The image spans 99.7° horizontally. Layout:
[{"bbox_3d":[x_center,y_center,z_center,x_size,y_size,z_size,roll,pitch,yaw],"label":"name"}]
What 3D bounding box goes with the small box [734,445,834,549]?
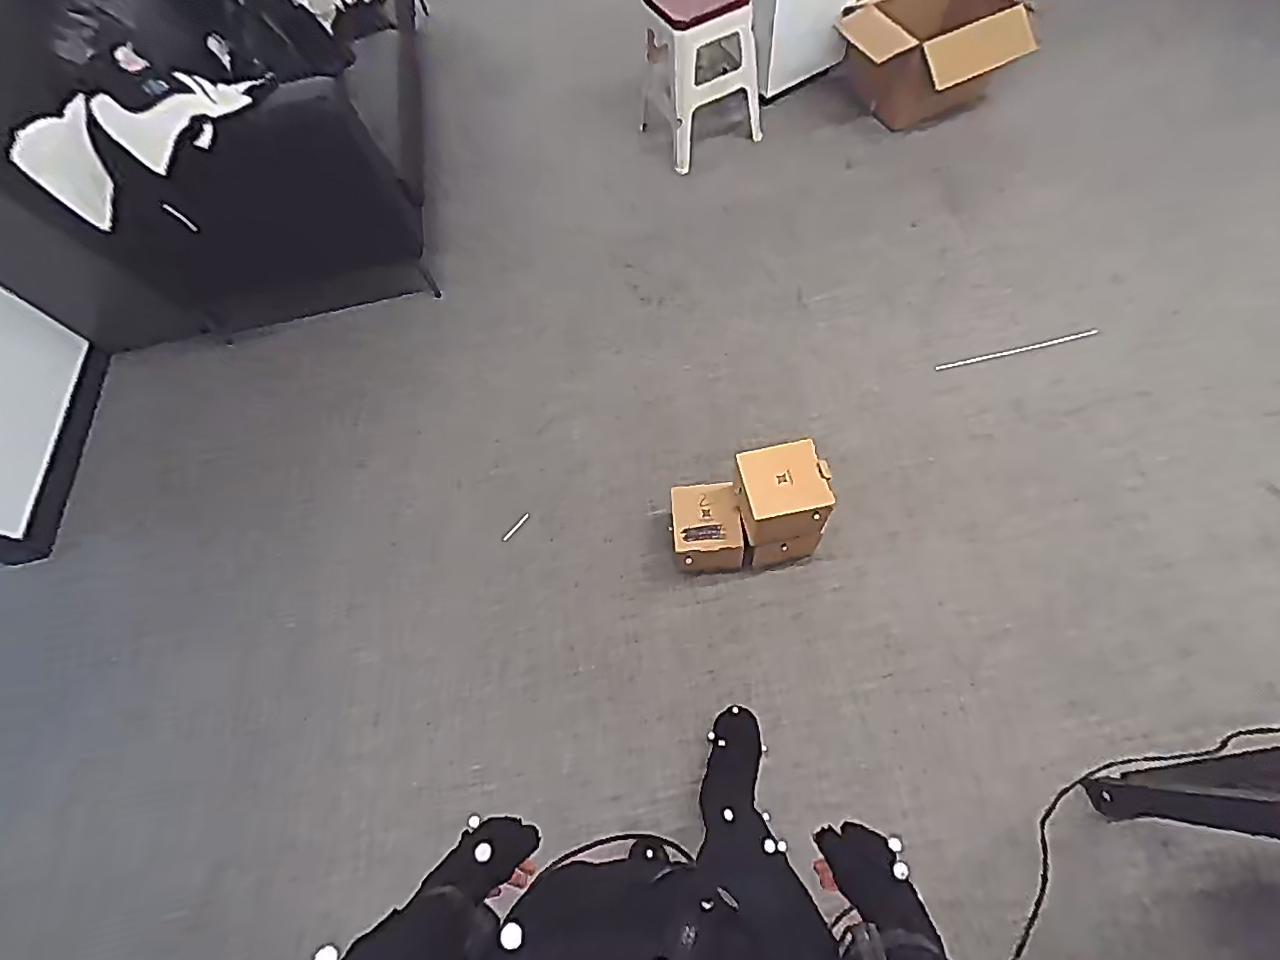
[{"bbox_3d":[0.320,0.045,1.242,0.179,0.176,0.168,-12,63,1],"label":"small box"}]
